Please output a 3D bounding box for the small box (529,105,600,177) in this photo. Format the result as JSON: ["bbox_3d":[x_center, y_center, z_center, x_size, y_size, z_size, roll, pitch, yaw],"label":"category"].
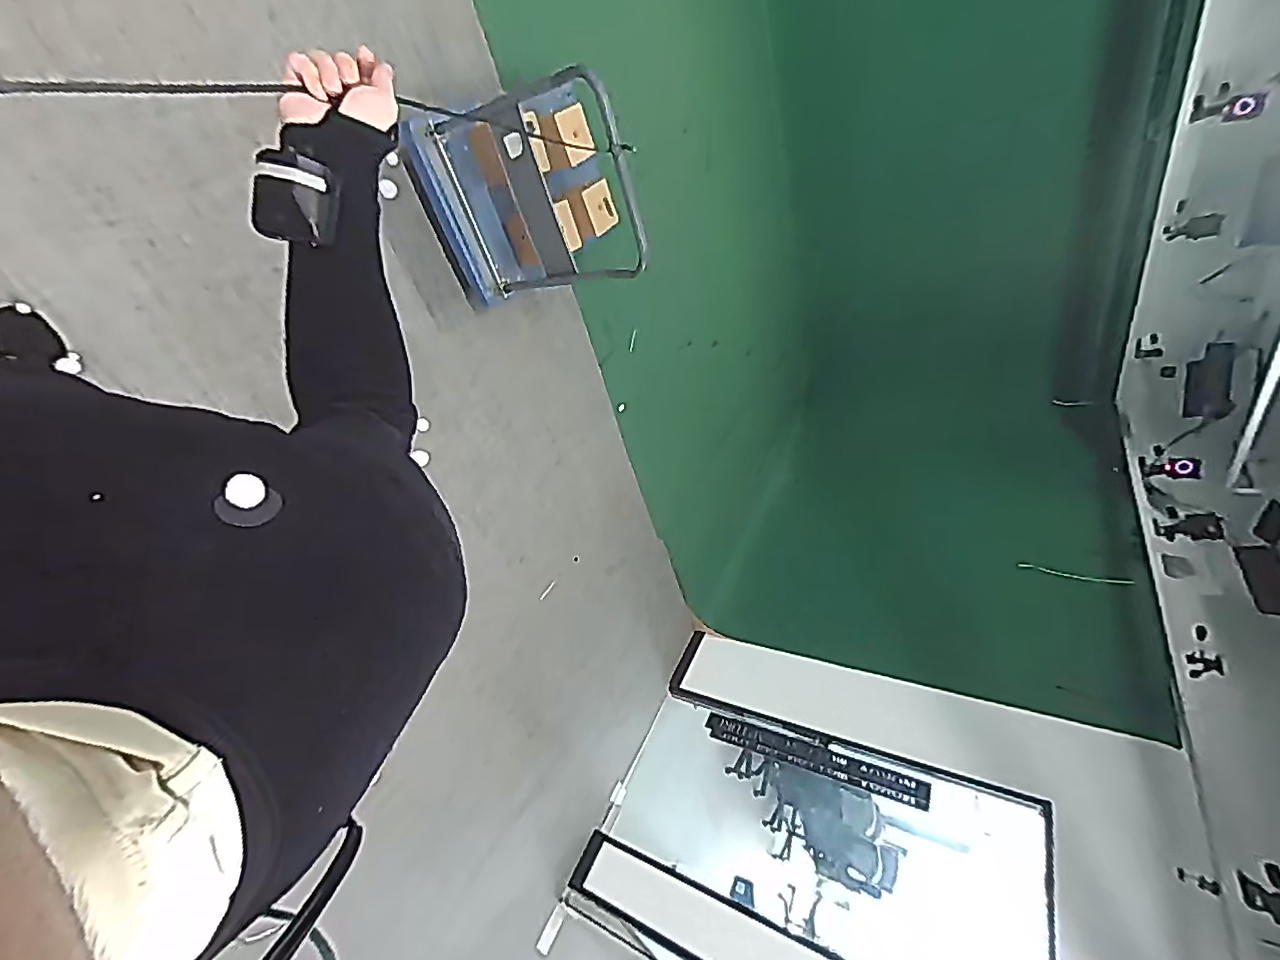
[{"bbox_3d":[-0.282,-1.232,1.973,0.179,0.176,0.168,-55,137,-37],"label":"small box"}]

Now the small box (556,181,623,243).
[{"bbox_3d":[-0.200,-1.045,2.120,0.179,0.176,0.168,-55,135,-36],"label":"small box"}]

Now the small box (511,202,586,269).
[{"bbox_3d":[-0.329,-0.880,1.949,0.179,0.176,0.168,-51,133,-39],"label":"small box"}]
